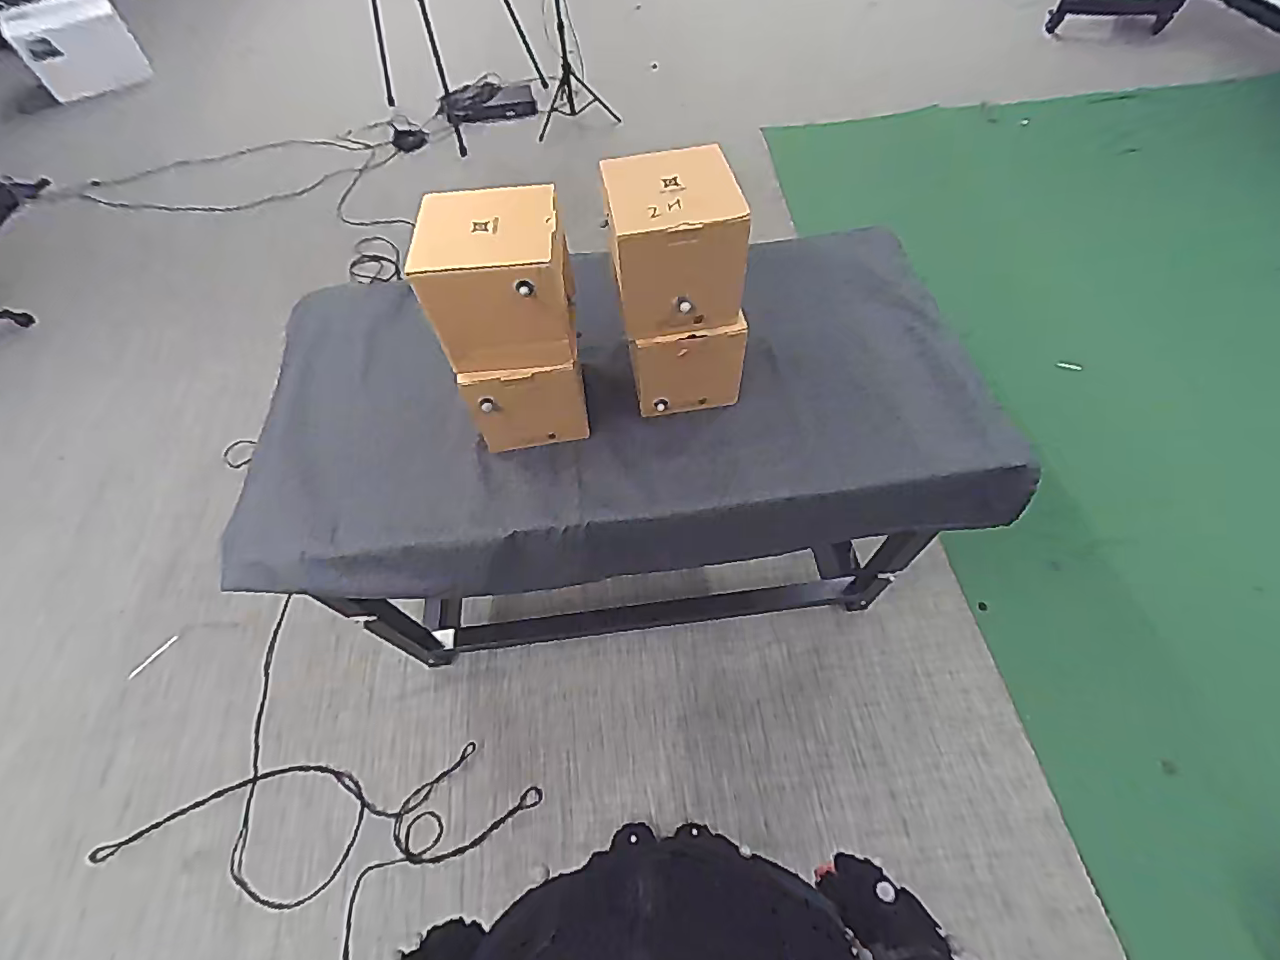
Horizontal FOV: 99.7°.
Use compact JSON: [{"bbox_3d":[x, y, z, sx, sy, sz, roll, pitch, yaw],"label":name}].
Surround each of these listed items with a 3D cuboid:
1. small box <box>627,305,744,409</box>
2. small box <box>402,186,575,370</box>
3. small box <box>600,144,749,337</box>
[{"bbox_3d":[0.066,-0.232,0.886,0.168,0.176,0.179,-9,58,-2],"label":"small box"},{"bbox_3d":[-0.189,-0.266,0.732,0.179,0.176,0.168,-5,57,0],"label":"small box"},{"bbox_3d":[0.041,-0.329,0.754,0.168,0.176,0.179,-10,59,-2],"label":"small box"}]
